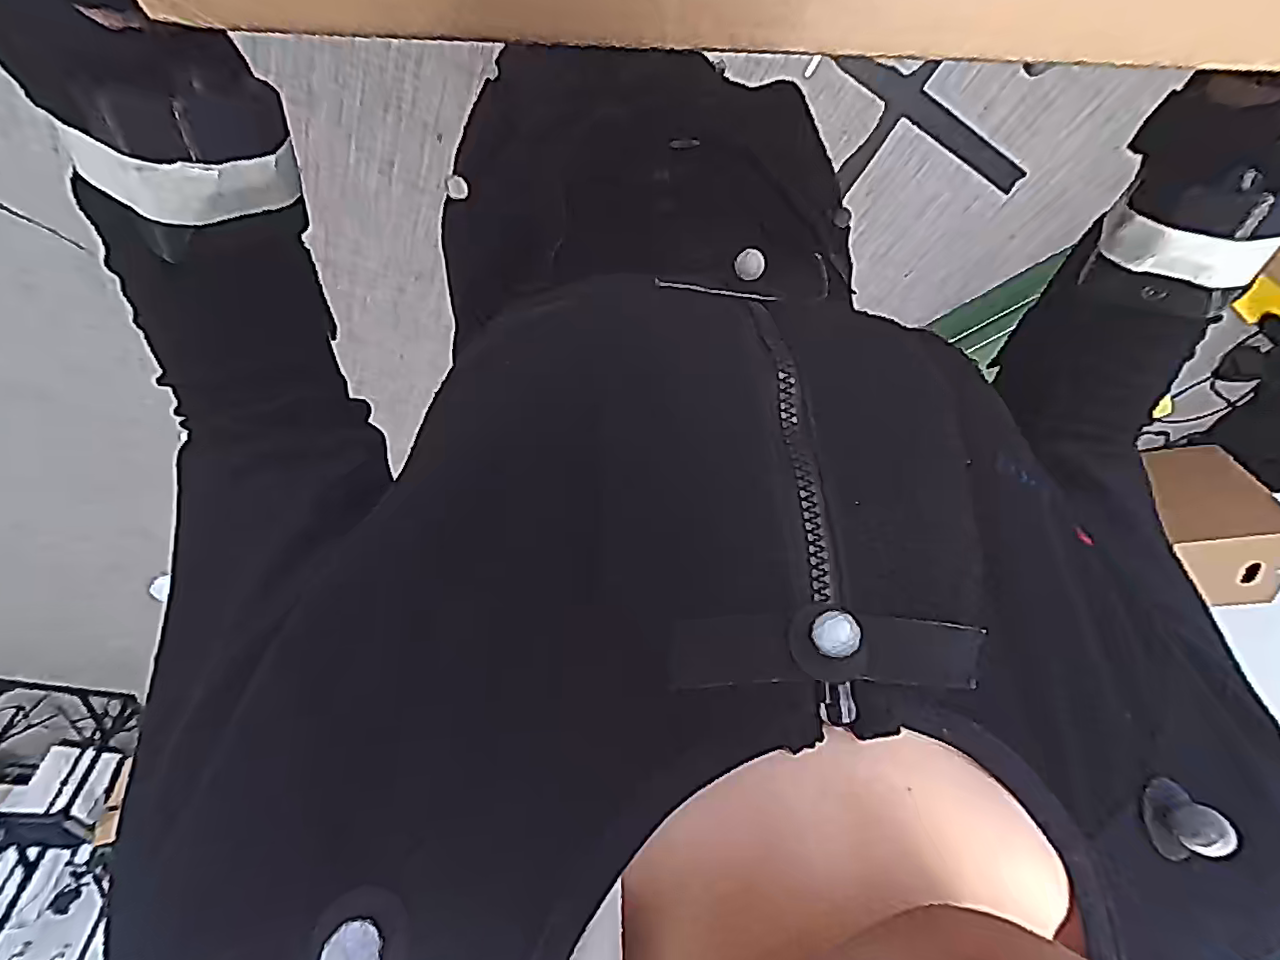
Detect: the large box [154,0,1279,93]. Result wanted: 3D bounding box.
[{"bbox_3d":[0.041,-0.356,0.168,0.408,0.320,0.320,-1,141,-4],"label":"large box"}]
